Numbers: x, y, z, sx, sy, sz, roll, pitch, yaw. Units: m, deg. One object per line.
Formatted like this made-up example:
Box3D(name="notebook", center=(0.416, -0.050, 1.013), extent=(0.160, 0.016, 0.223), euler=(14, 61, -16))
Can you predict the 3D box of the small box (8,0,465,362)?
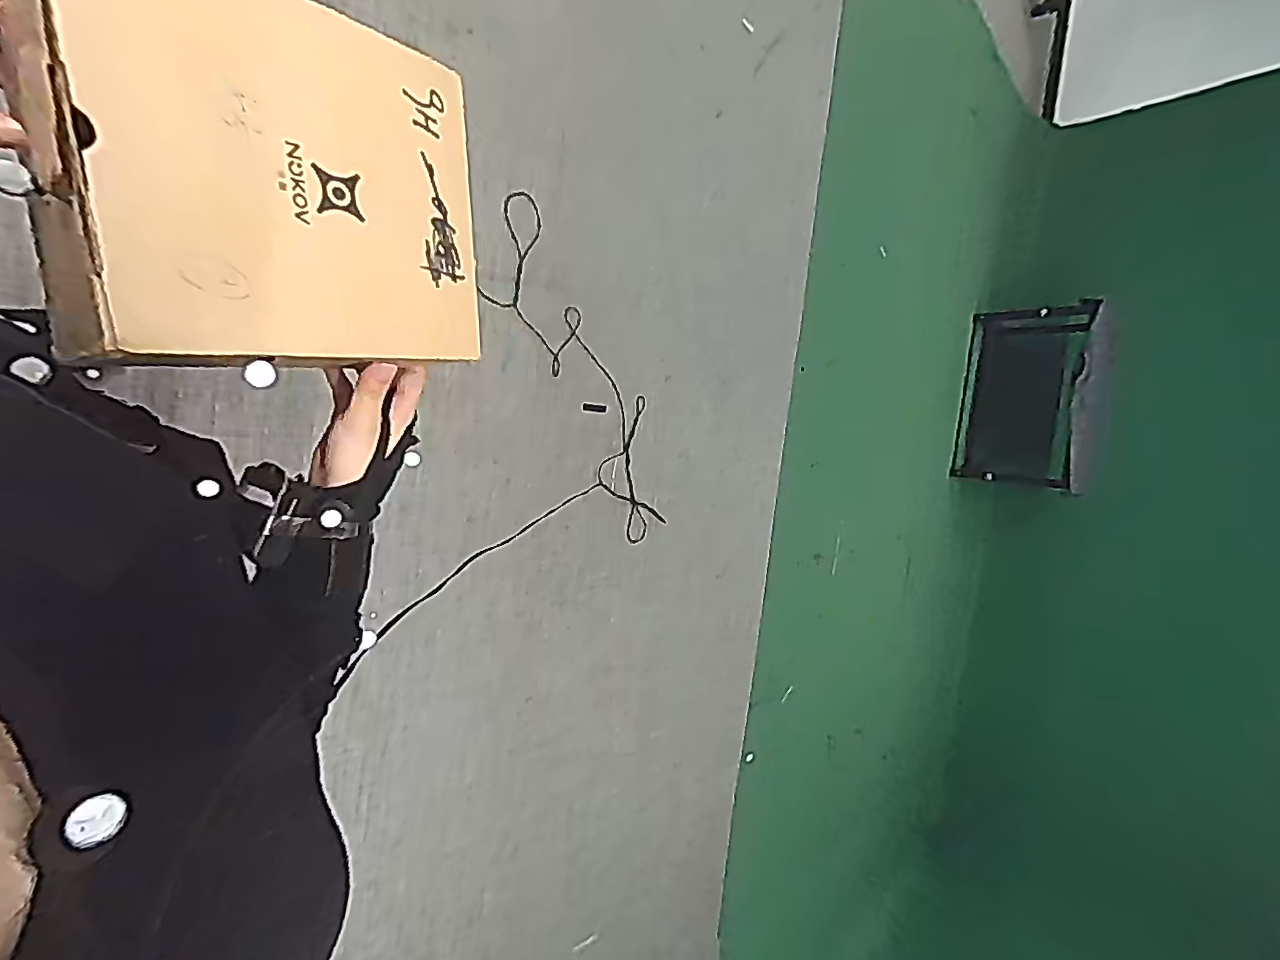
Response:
Box3D(name="small box", center=(-0.232, -0.159, 0.322), extent=(0.179, 0.176, 0.168), euler=(-14, 107, -50))
